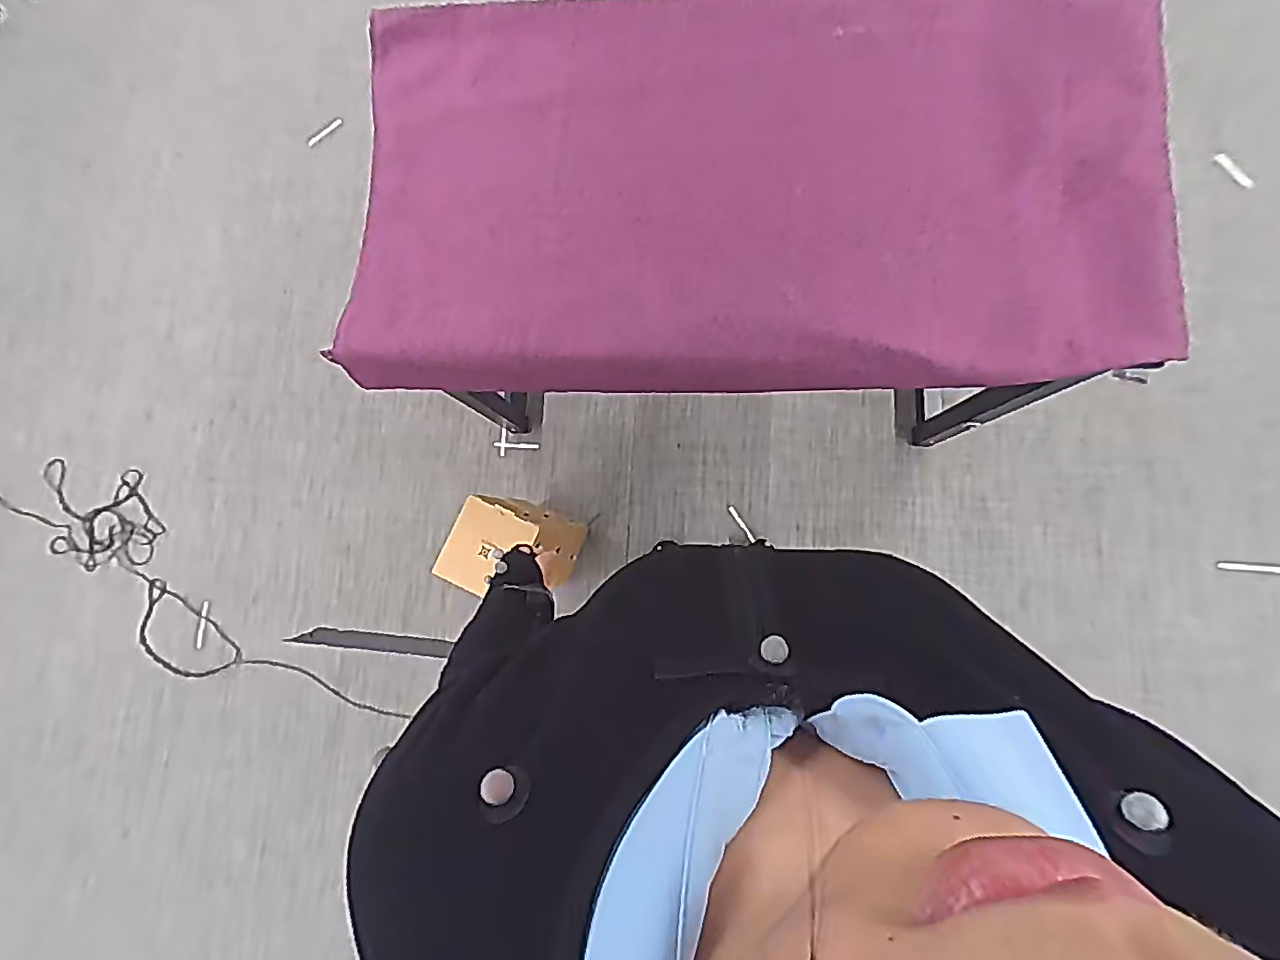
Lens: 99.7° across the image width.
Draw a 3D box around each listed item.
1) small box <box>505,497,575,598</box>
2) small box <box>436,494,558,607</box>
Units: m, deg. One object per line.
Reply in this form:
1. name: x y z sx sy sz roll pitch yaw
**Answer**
1. small box: -0.272 0.160 1.304 0.168 0.176 0.179 31 88 8
2. small box: -0.291 0.147 1.143 0.168 0.176 0.179 24 86 7
